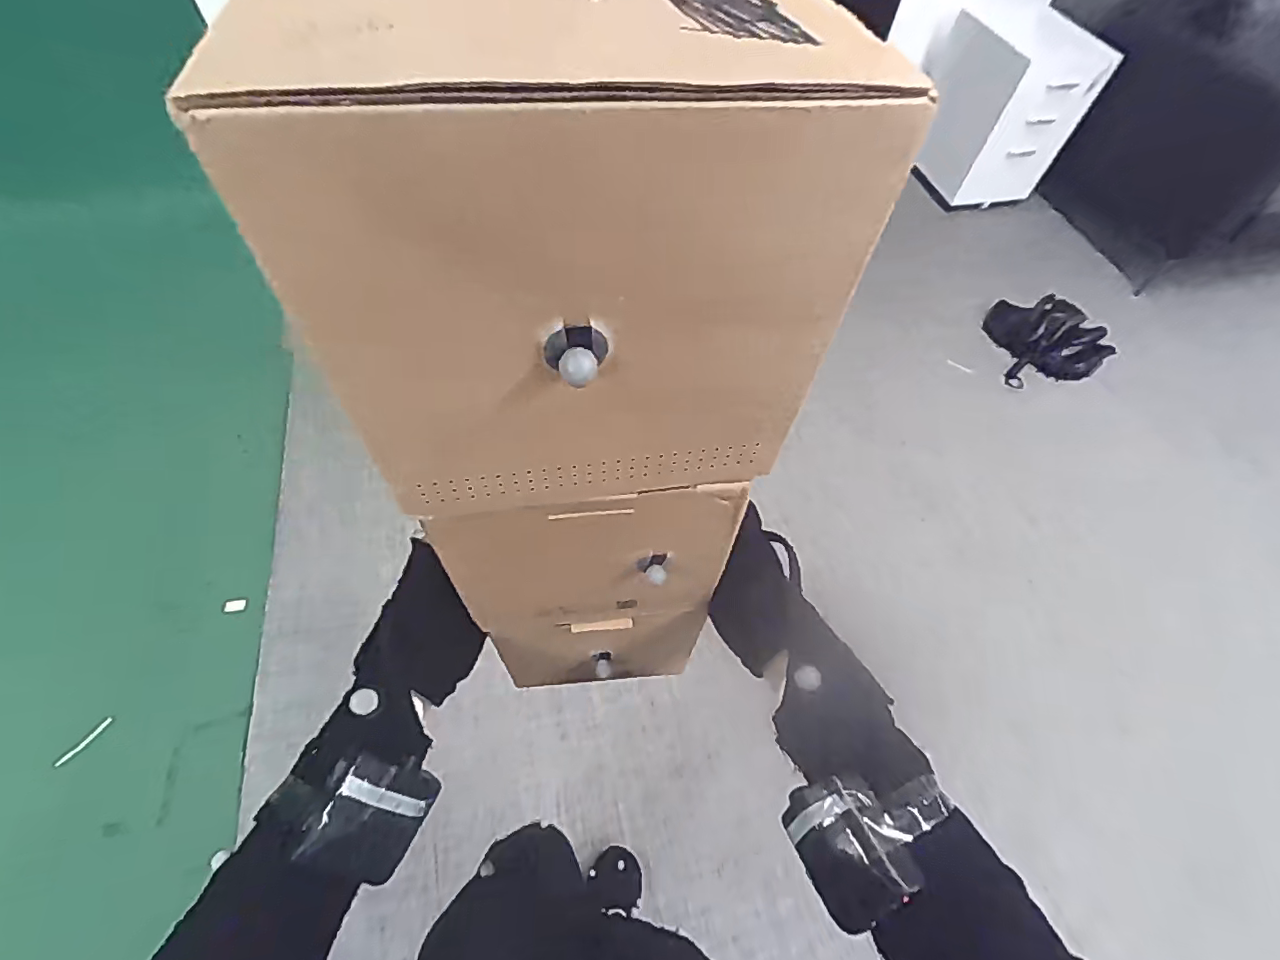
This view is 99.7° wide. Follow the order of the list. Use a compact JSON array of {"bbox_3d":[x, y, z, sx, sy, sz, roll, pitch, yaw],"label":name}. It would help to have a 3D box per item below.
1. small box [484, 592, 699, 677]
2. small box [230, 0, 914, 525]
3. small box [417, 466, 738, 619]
[{"bbox_3d":[-0.045,0.080,0.515,0.168,0.176,0.179,-4,57,-6],"label":"small box"},{"bbox_3d":[-0.031,-0.098,0.241,0.179,0.176,0.168,-9,57,-12],"label":"small box"},{"bbox_3d":[-0.042,-0.012,0.380,0.168,0.176,0.179,-4,55,-7],"label":"small box"}]
